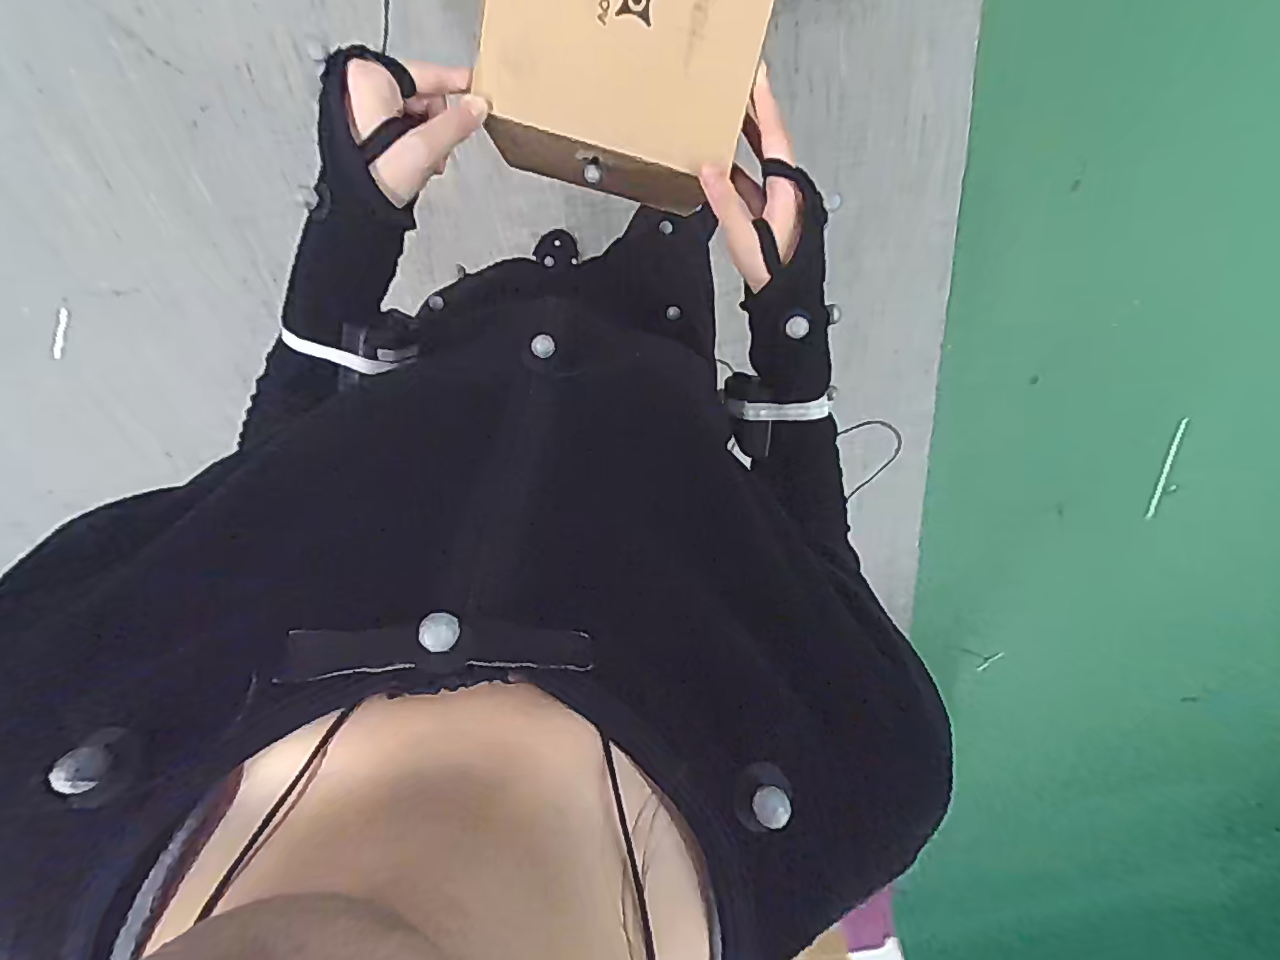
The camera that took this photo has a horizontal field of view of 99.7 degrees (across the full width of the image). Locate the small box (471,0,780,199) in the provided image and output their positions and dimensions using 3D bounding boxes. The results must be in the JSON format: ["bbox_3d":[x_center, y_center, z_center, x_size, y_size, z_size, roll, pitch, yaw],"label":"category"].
[{"bbox_3d":[-0.008,-0.326,0.398,0.179,0.176,0.168,12,107,-10],"label":"small box"}]
